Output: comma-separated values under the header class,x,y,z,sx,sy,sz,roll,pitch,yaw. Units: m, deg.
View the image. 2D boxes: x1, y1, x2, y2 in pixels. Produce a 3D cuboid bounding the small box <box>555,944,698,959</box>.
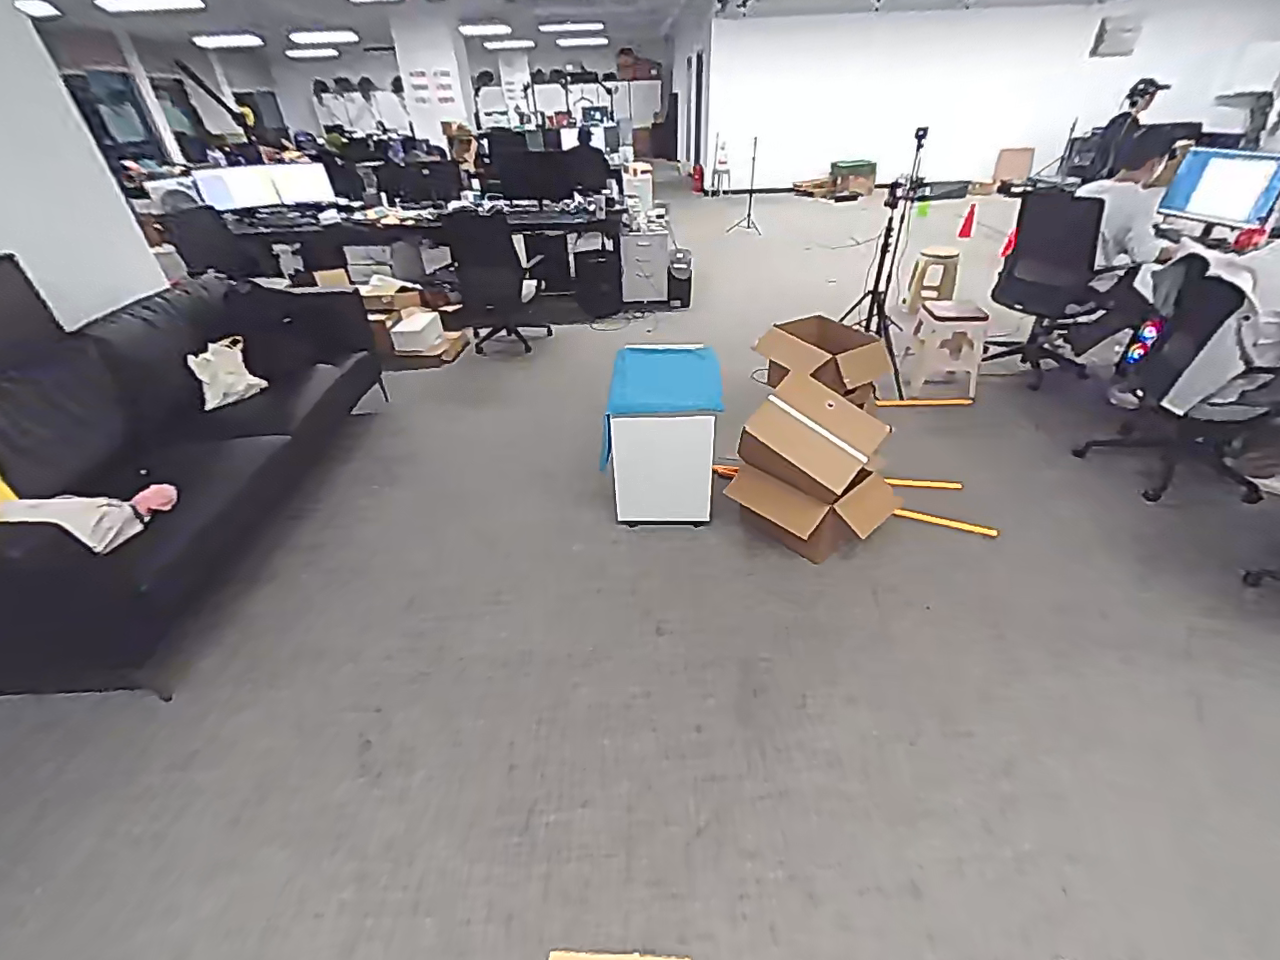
class,x,y,z,sx,sy,sz,roll,pitch,yaw
small box,-0.024,0.648,0.595,0.168,0.176,0.179,4,38,-1
